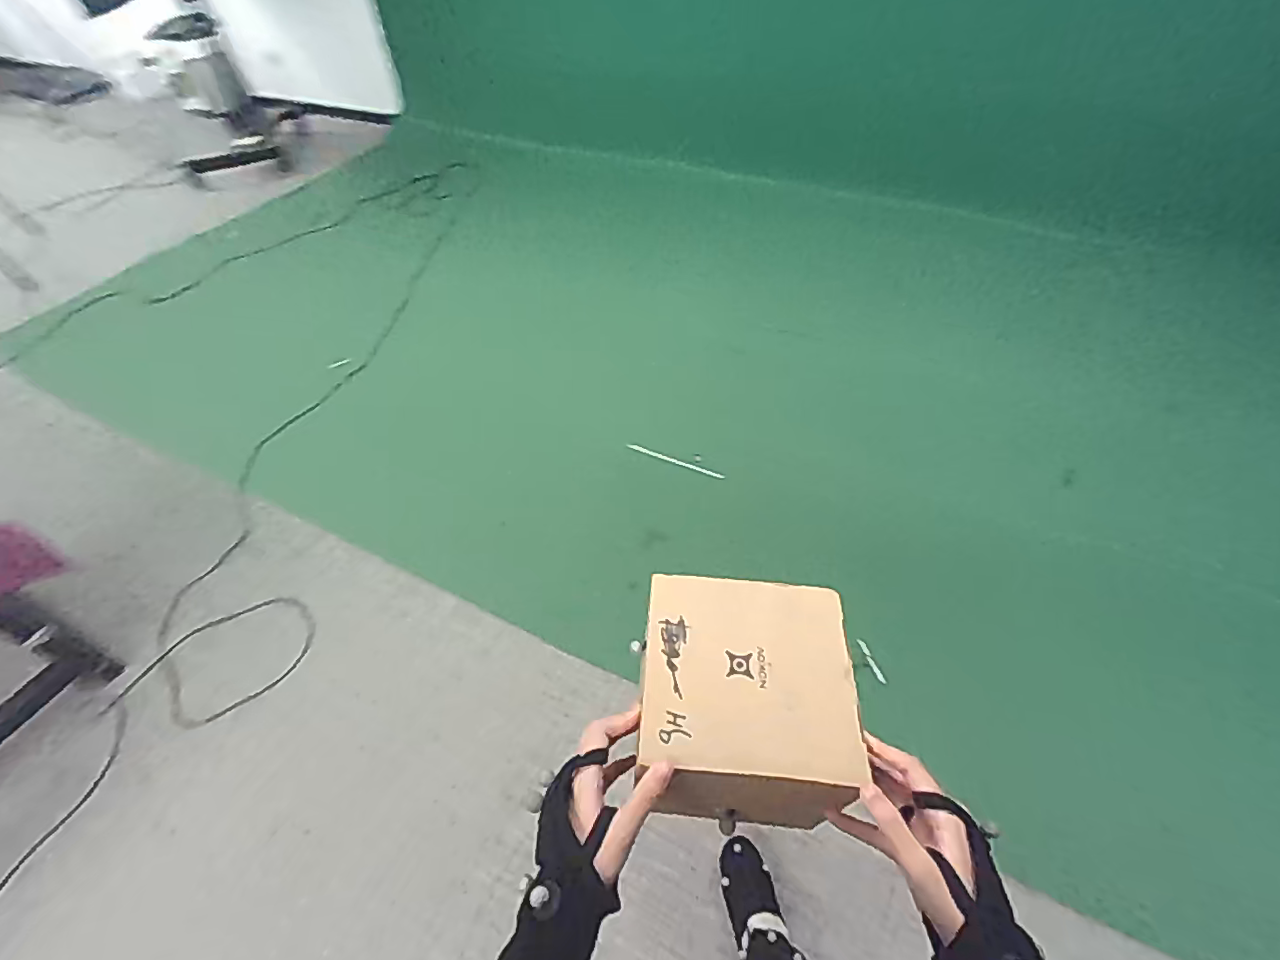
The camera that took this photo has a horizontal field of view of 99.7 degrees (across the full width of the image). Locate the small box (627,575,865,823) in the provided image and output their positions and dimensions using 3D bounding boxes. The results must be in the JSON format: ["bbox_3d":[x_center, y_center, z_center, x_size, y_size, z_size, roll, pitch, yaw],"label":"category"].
[{"bbox_3d":[0.083,0.211,0.512,0.179,0.176,0.168,5,48,1],"label":"small box"}]
